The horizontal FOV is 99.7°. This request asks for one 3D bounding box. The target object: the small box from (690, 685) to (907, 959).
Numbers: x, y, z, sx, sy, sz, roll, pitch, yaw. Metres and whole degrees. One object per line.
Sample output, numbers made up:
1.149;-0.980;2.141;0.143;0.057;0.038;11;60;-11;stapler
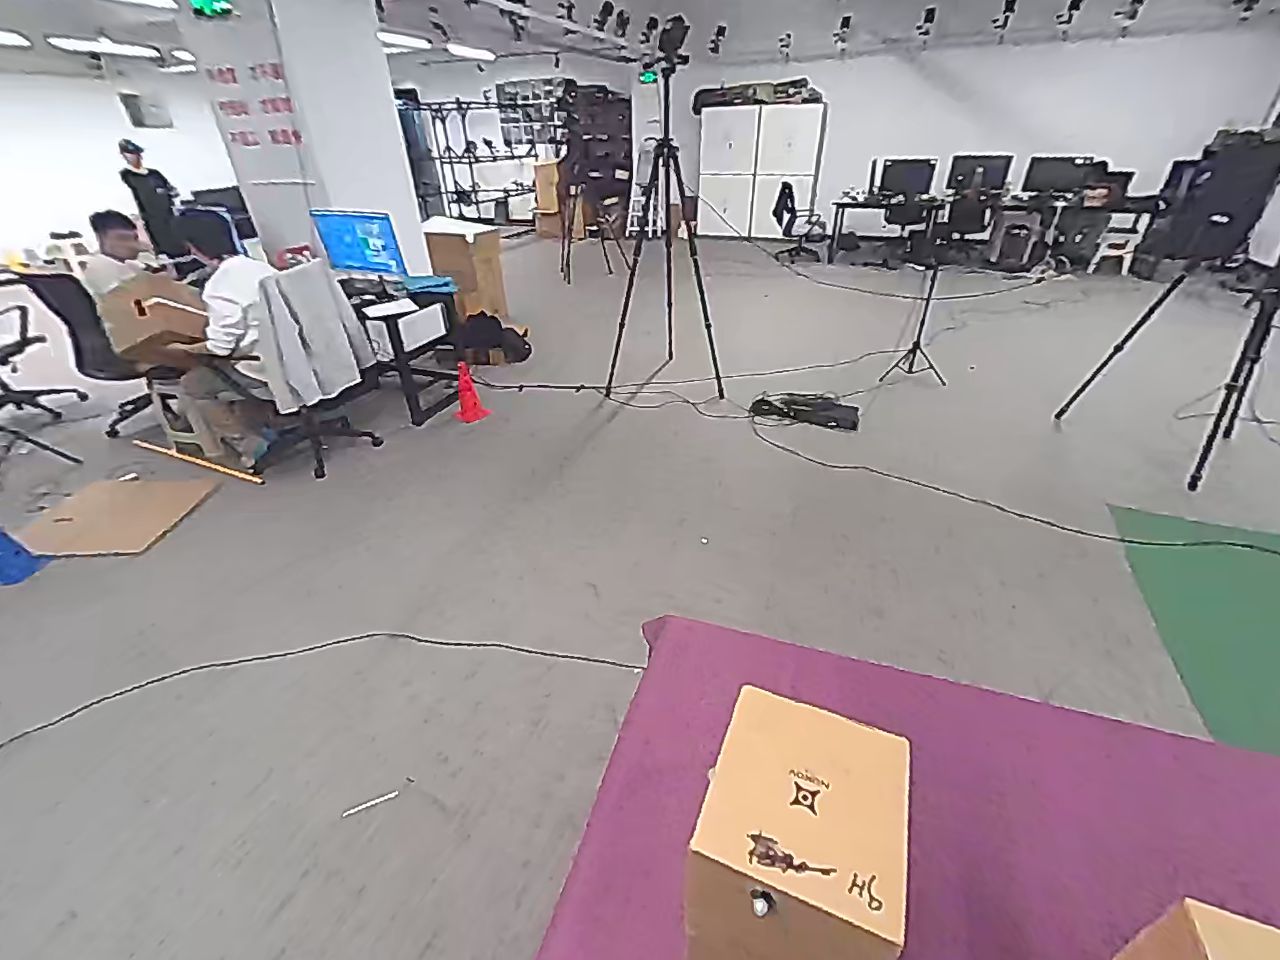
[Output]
0.151;0.344;0.526;0.168;0.176;0.179;11;33;22;small box
